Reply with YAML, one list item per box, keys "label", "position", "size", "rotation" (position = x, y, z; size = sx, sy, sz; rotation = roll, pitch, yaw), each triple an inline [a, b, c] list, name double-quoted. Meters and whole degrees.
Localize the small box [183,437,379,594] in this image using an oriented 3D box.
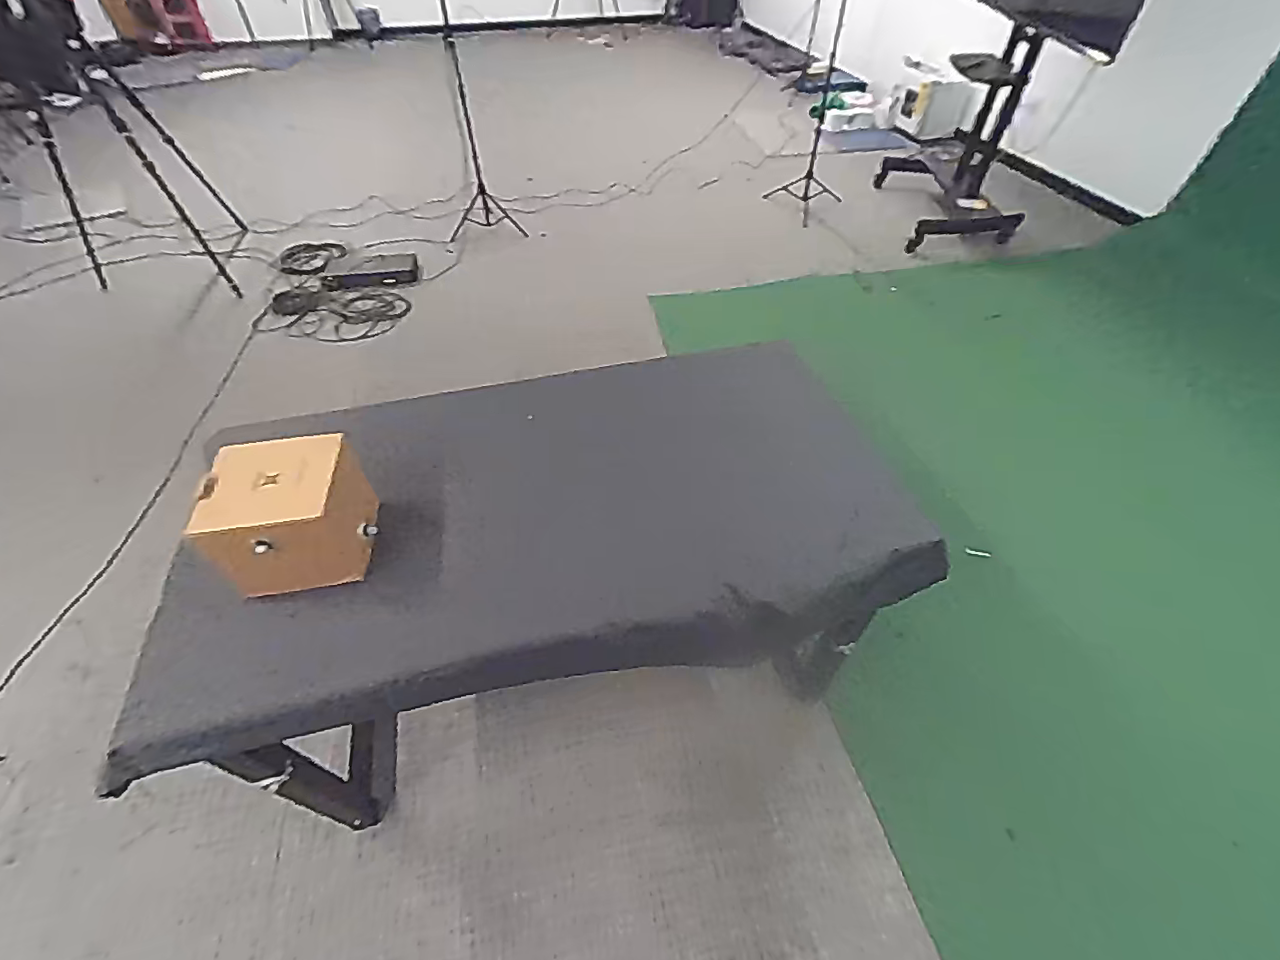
- label: "small box"
  position: [-0.526, 0.057, 0.823]
  size: [0.179, 0.176, 0.168]
  rotation: [-7, 50, -9]
